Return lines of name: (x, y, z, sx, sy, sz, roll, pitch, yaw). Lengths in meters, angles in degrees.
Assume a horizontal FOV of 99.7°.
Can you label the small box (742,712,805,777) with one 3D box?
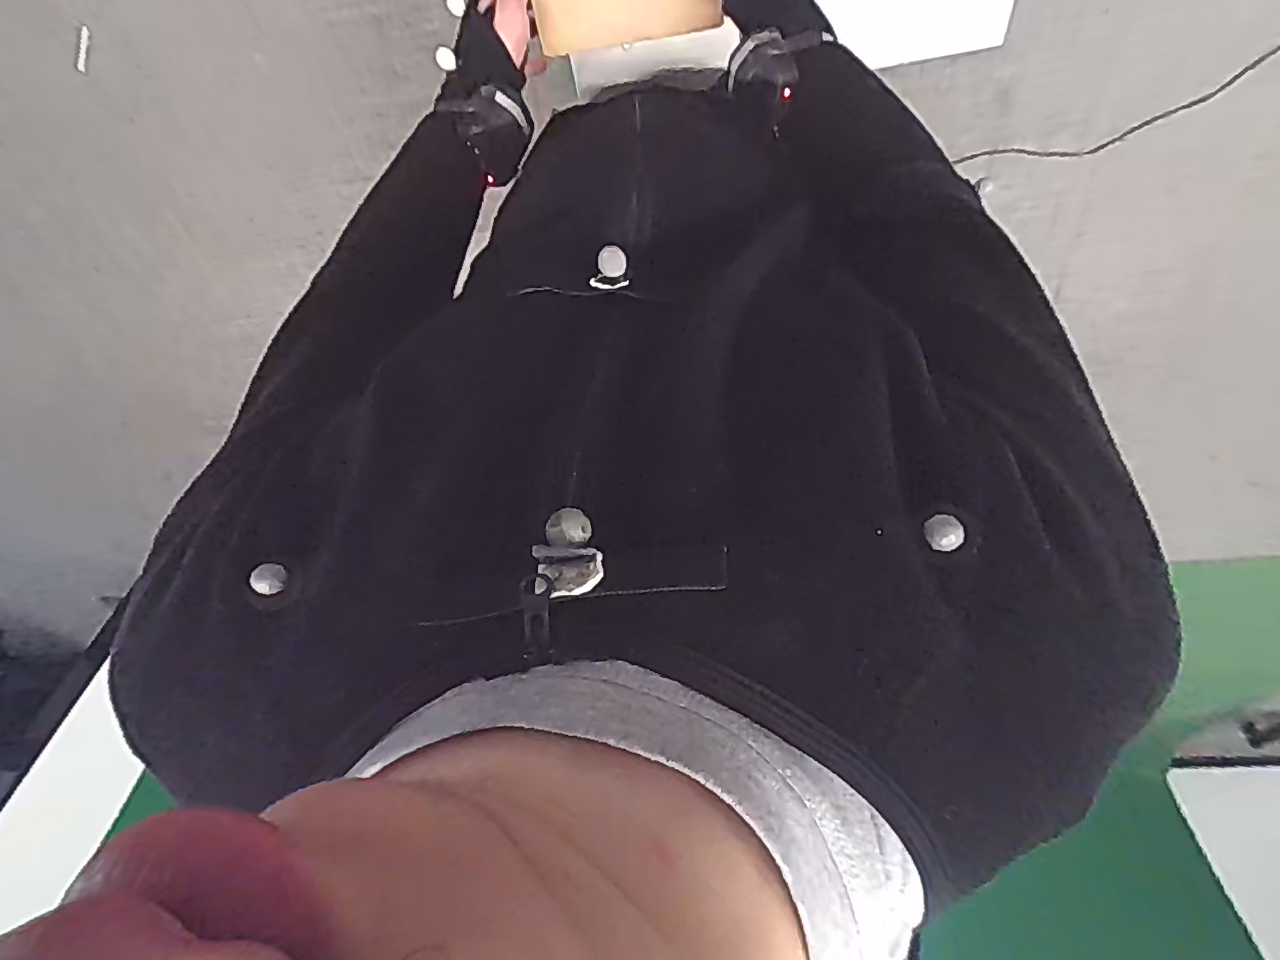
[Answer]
small box: (0.459, 0.919, 1.883, 0.179, 0.176, 0.168, -2, 137, 3)
